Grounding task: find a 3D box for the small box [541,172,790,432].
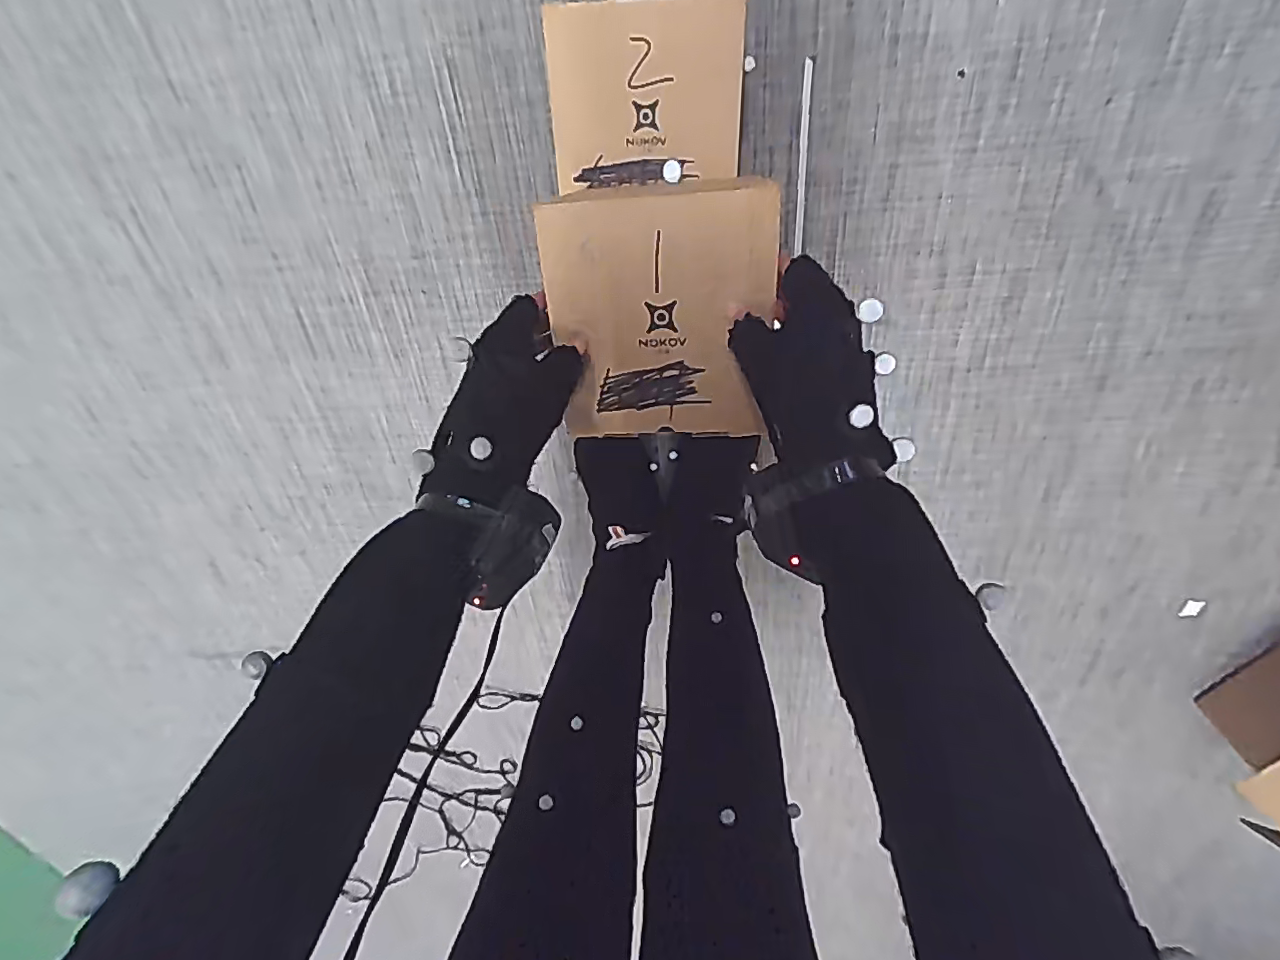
[{"bbox_3d":[0.029,-0.155,0.461,0.168,0.176,0.179,0,121,7],"label":"small box"}]
